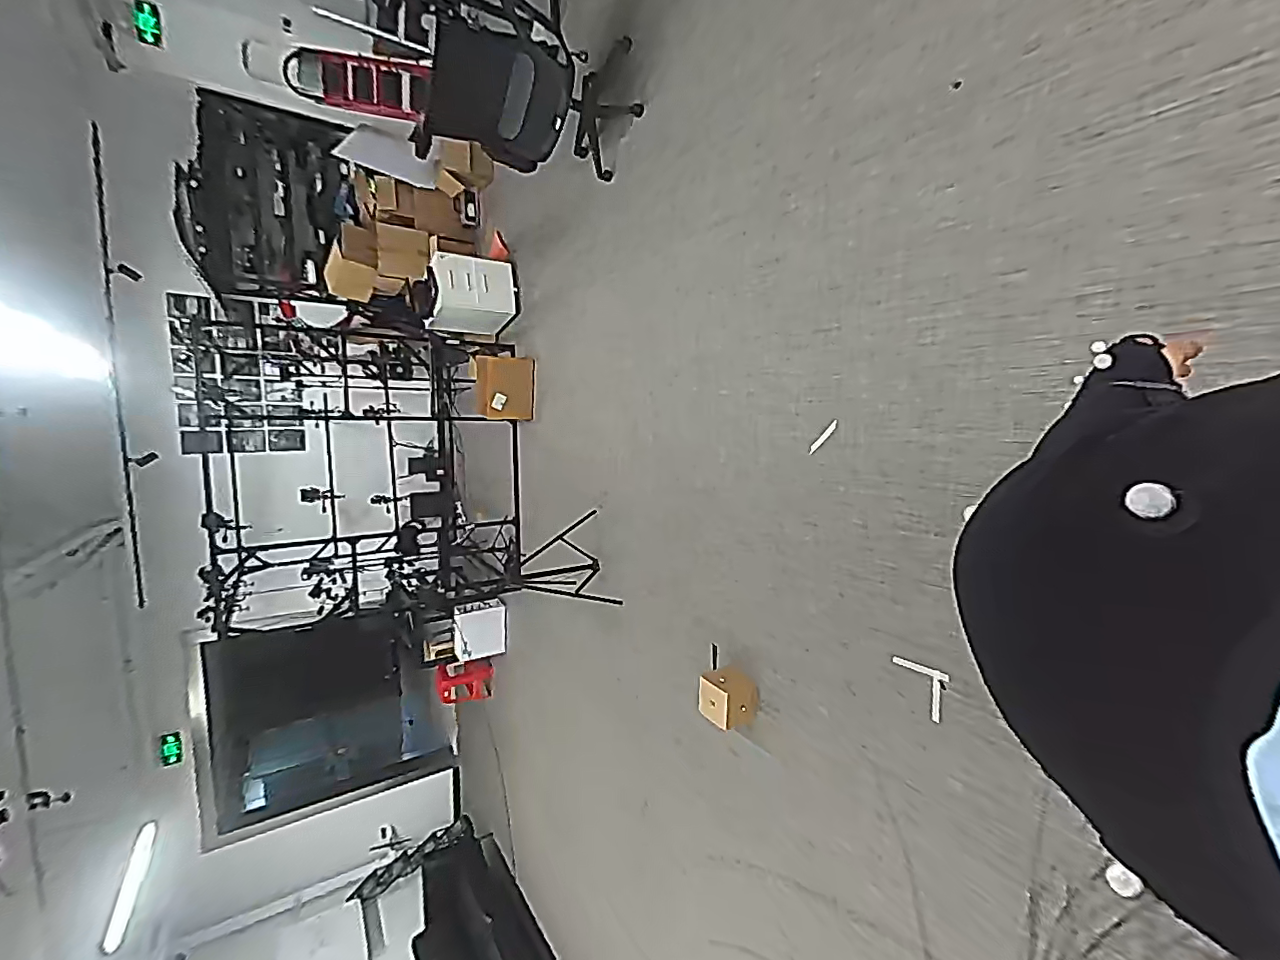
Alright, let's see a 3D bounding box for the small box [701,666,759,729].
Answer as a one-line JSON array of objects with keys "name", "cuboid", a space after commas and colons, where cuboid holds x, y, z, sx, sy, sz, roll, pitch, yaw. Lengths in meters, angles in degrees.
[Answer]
[{"name": "small box", "cuboid": [0.377, 0.901, 2.259, 0.179, 0.176, 0.168, 14, 105, 57]}]
